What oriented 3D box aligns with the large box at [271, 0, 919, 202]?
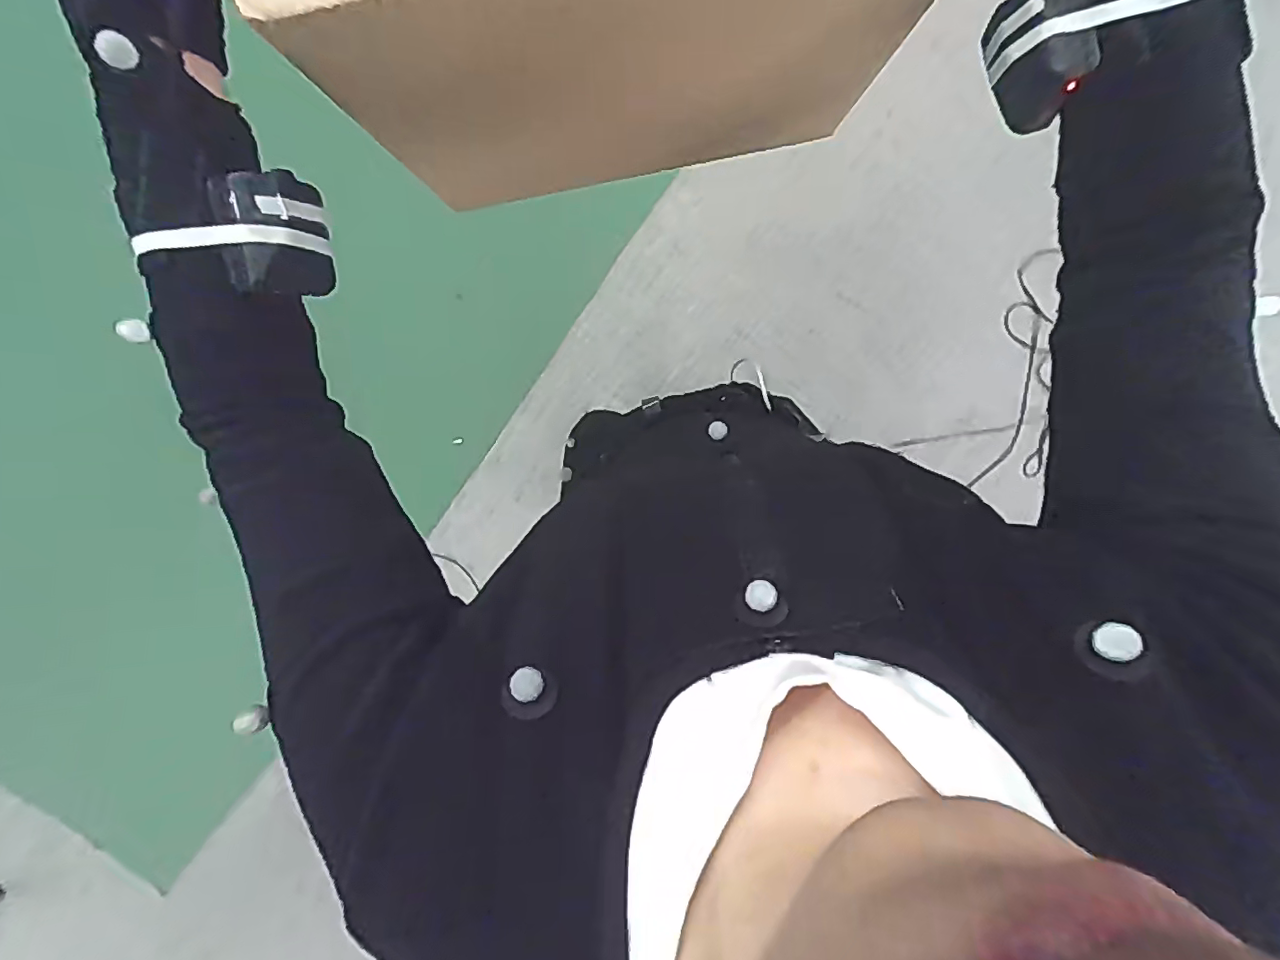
[{"bbox_3d":[-0.025,-0.447,0.390,0.408,0.320,0.320,-10,101,2],"label":"large box"}]
